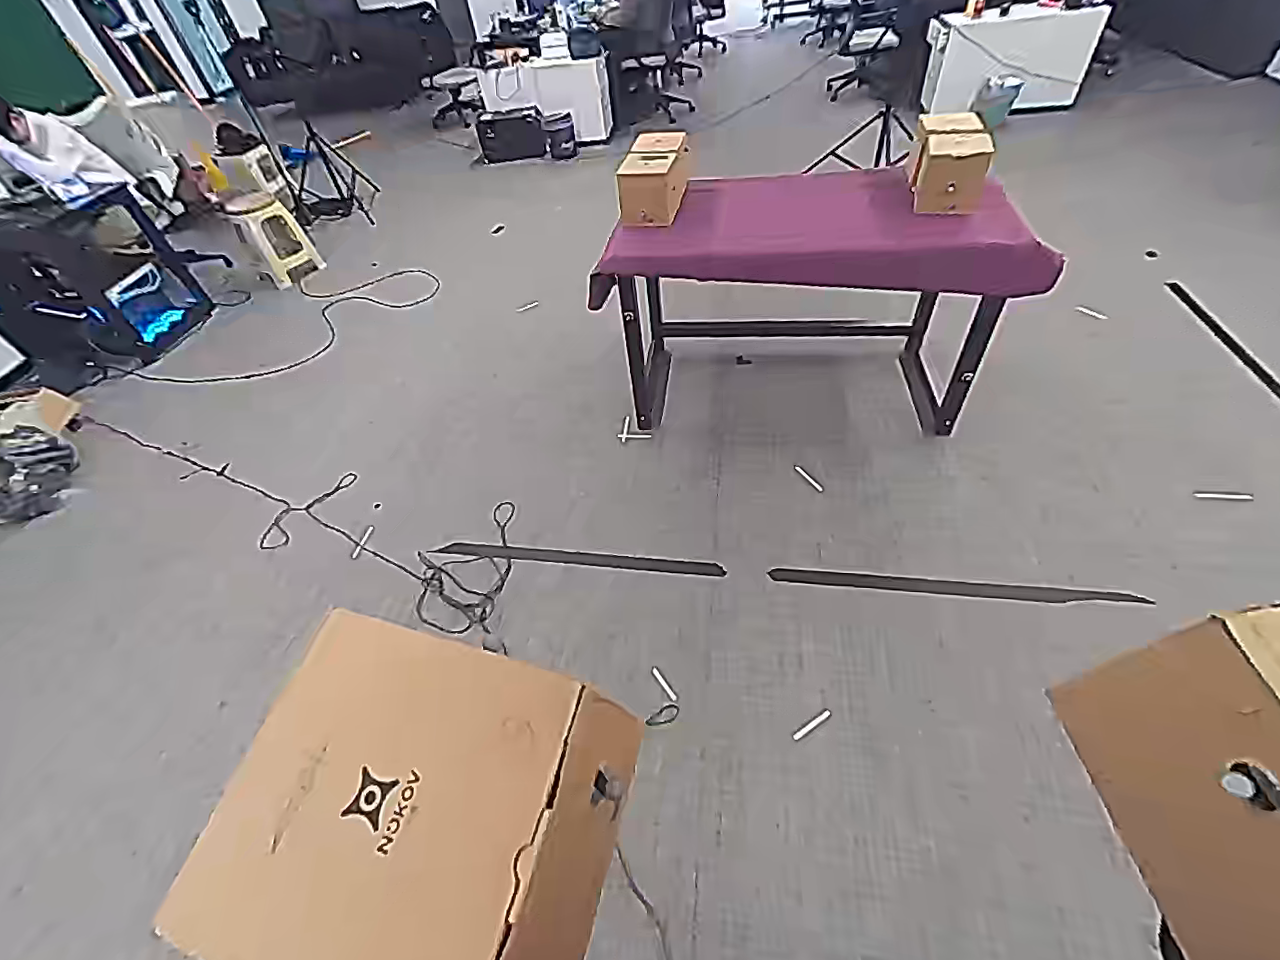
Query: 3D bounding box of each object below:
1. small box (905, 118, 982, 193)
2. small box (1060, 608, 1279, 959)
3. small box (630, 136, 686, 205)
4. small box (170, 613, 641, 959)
[{"bbox_3d":[0.974,-1.052,1.753,0.168,0.176,0.179,6,48,12],"label":"small box"},{"bbox_3d":[0.395,0.177,0.302,0.168,0.176,0.179,-8,56,0],"label":"small box"},{"bbox_3d":[0.070,-1.096,1.914,0.168,0.176,0.179,6,50,13],"label":"small box"},{"bbox_3d":[-0.111,0.204,0.340,0.179,0.176,0.168,9,61,18],"label":"small box"}]
